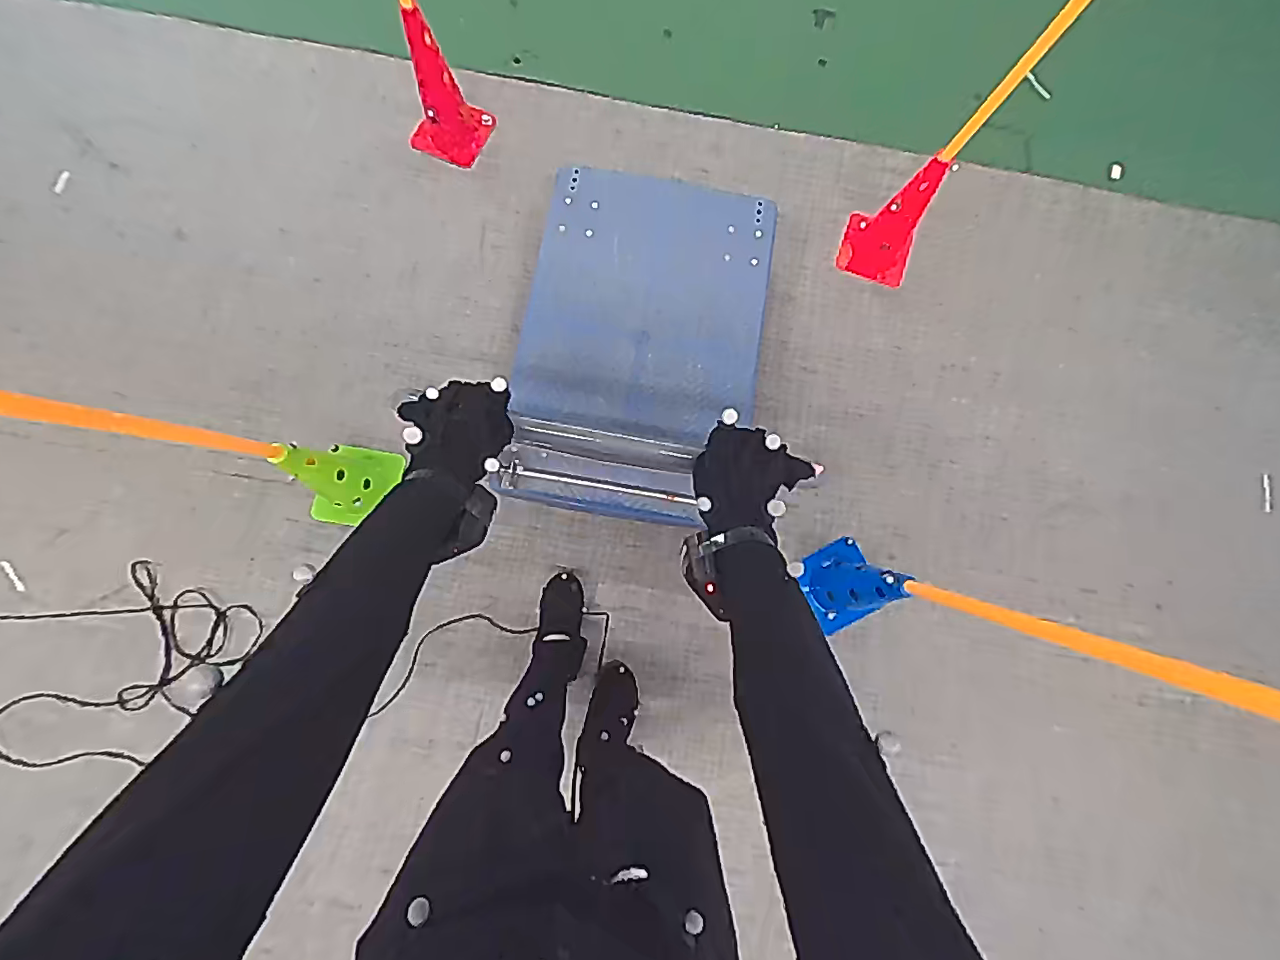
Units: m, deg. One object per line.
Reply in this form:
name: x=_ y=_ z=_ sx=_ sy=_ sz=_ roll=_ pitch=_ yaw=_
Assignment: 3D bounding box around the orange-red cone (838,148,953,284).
orange-red cone: x=0.698 y=-0.712 z=1.413 sx=0.198 sy=0.360 sz=0.199 roll=21 pitch=79 yaw=3
